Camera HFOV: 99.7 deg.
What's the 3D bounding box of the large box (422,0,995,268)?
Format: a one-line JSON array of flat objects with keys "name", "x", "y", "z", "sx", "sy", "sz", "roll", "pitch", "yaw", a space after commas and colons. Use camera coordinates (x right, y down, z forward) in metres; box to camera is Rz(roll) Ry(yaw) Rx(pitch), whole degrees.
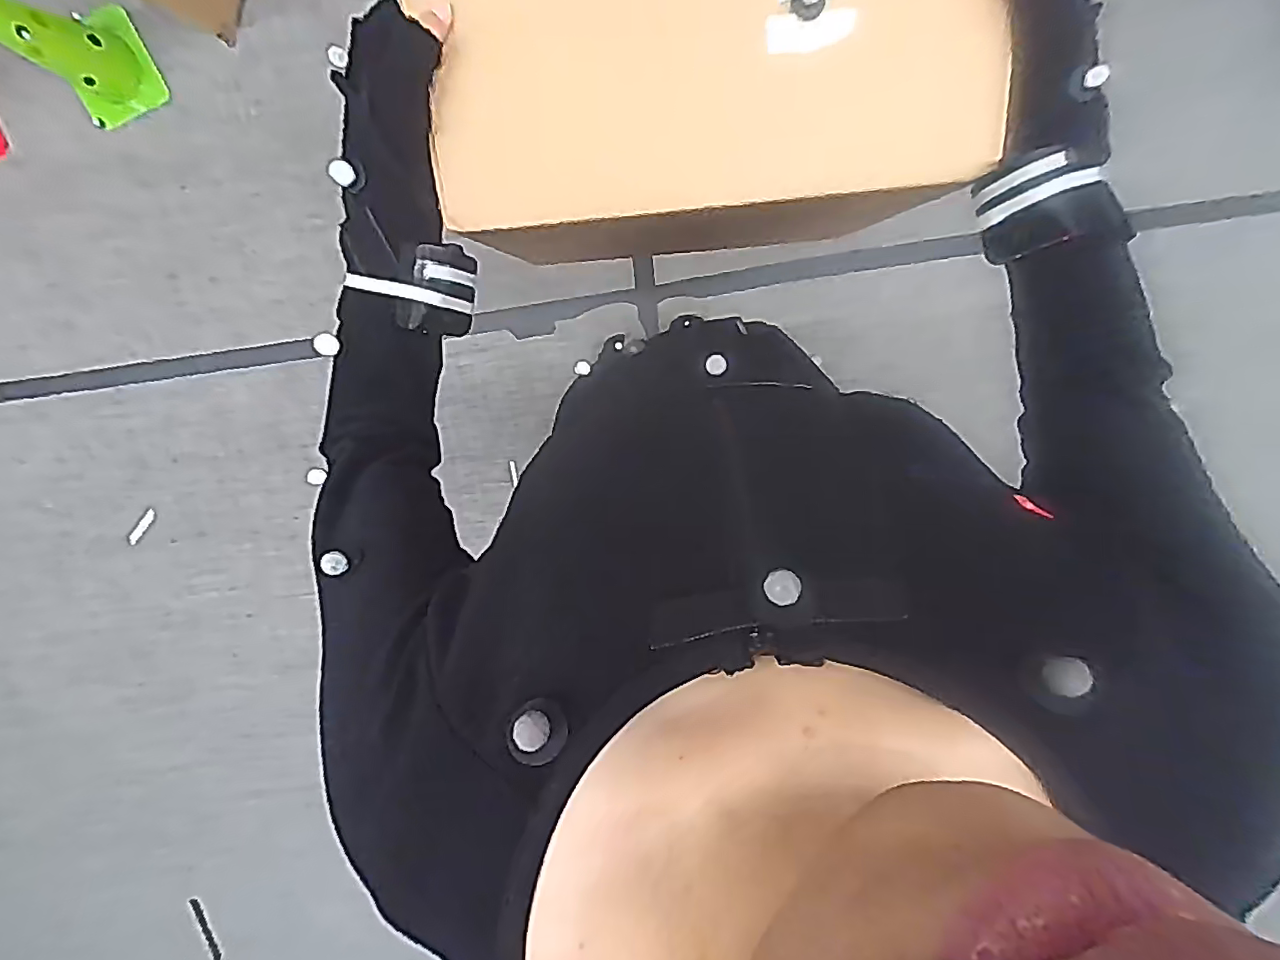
[{"name": "large box", "x": 0.044, "y": -0.399, "z": 0.510, "sx": 0.408, "sy": 0.320, "sz": 0.320, "roll": -5, "pitch": 107, "yaw": 2}]
